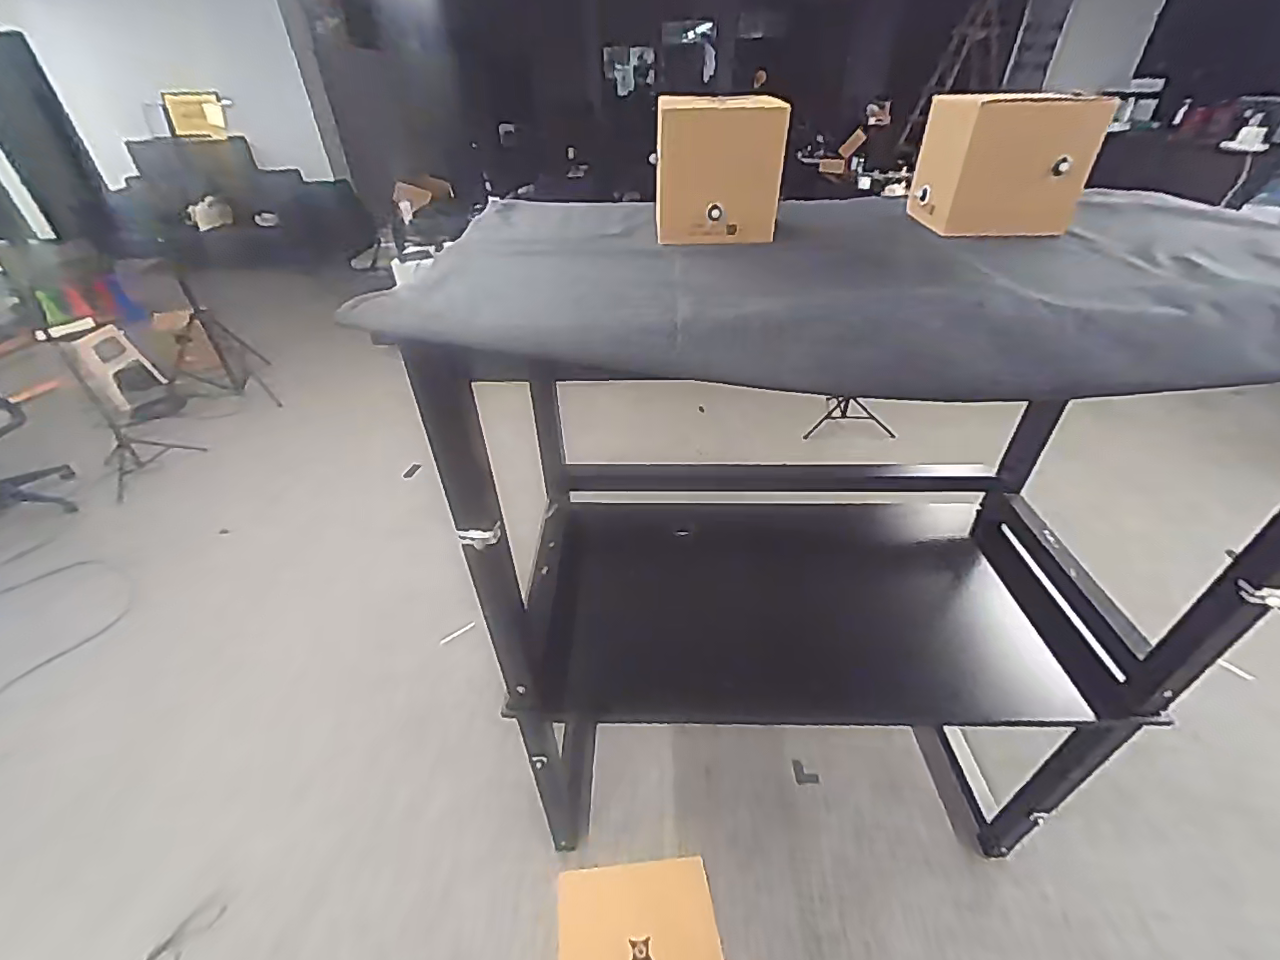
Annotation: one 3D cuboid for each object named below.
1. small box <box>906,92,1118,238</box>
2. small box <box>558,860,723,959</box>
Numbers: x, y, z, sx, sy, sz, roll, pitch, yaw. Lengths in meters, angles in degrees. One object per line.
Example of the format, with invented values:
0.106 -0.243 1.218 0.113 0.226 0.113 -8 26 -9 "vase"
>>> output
0.528 -0.466 0.801 0.179 0.176 0.168 1 37 3 "small box"
-0.004 0.543 0.563 0.168 0.176 0.179 -1 26 -8 "small box"
